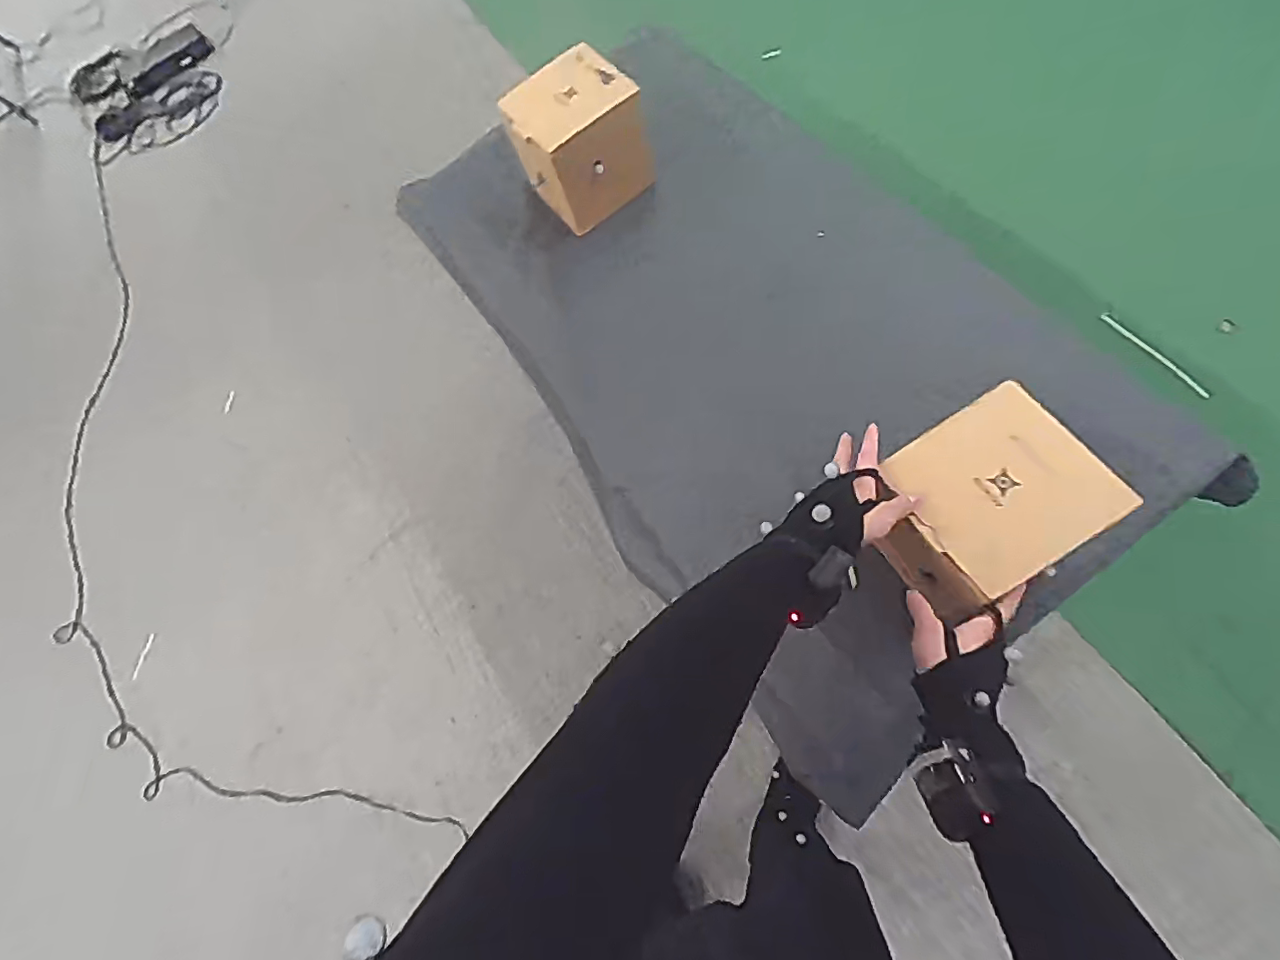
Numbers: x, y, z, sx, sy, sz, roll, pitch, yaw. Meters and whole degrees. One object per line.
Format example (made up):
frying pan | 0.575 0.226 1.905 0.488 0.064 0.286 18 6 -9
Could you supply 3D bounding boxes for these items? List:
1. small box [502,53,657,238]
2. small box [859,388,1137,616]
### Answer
small box | -0.093 -0.552 0.911 0.179 0.176 0.168 -38 69 -2
small box | 0.370 0.037 0.607 0.179 0.176 0.168 -33 69 -1
